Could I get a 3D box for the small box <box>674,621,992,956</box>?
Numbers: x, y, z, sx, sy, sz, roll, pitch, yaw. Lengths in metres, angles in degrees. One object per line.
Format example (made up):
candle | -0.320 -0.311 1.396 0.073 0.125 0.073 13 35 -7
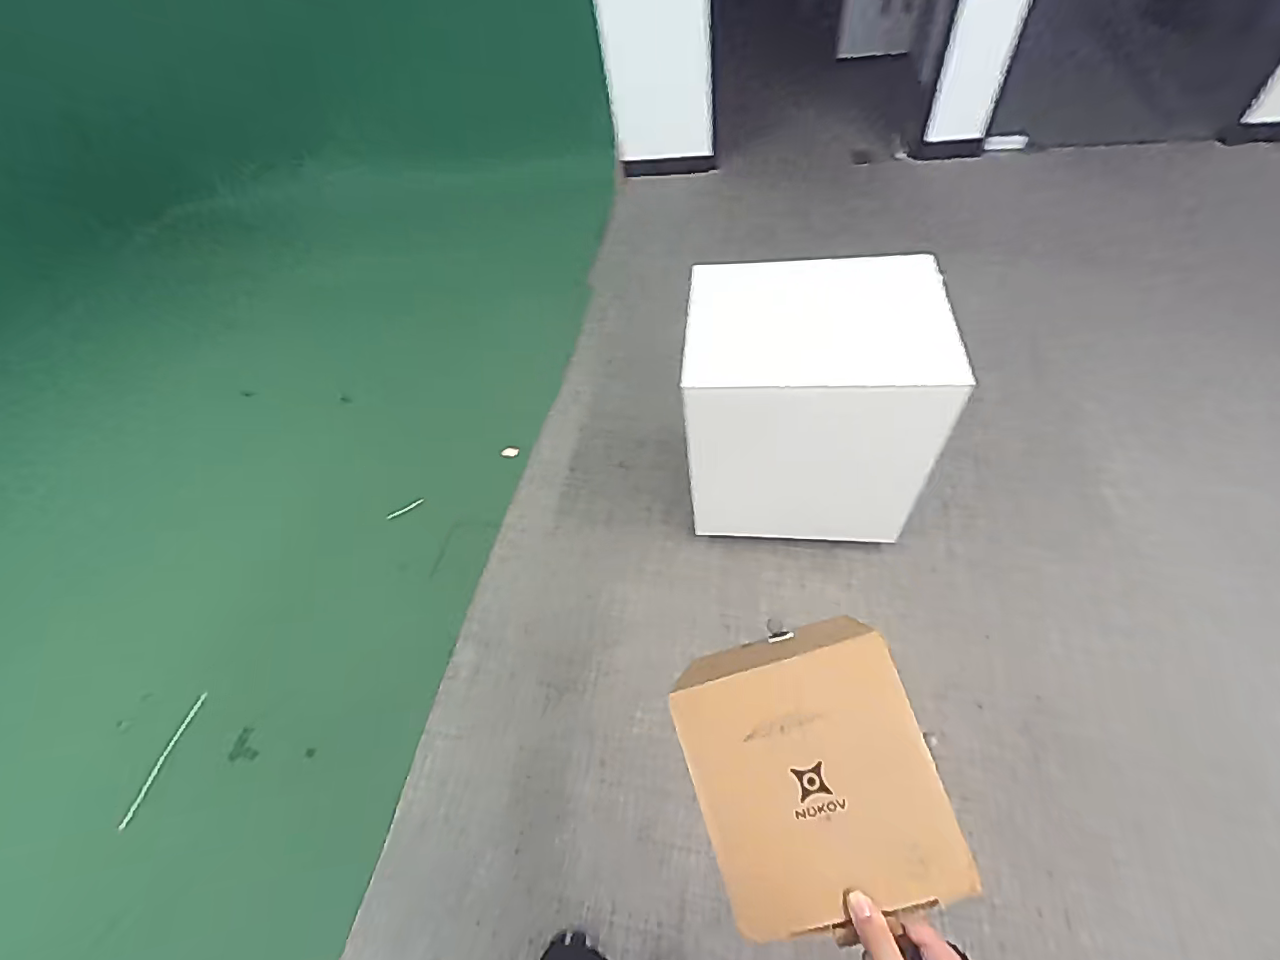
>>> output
small box | 0.143 0.230 0.451 0.168 0.176 0.179 -21 76 8
